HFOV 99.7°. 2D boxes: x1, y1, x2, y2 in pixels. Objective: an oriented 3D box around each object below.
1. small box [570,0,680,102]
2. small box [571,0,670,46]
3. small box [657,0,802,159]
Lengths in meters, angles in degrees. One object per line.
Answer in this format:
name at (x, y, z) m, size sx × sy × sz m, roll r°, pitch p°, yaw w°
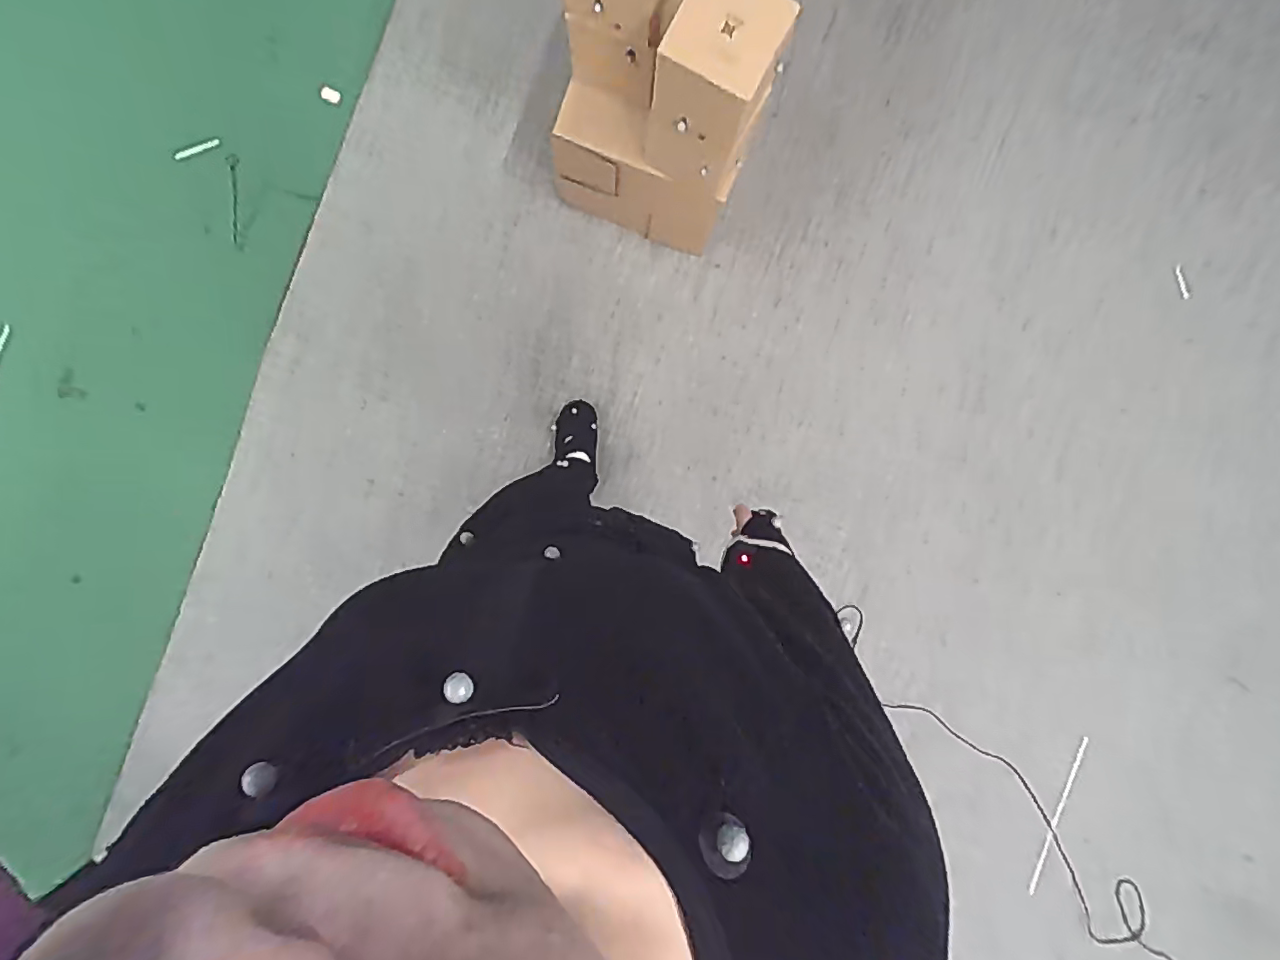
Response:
small box at (-0.025, -0.901, 1.072) m, size 0.179 × 0.176 × 0.168 m, roll 19°, pitch 89°, yaw -2°
small box at (-0.022, -0.900, 0.909) m, size 0.168 × 0.176 × 0.179 m, roll 21°, pitch 90°, yaw -2°
small box at (0.138, -0.700, 0.916) m, size 0.168 × 0.176 × 0.179 m, roll 29°, pitch 90°, yaw -3°
